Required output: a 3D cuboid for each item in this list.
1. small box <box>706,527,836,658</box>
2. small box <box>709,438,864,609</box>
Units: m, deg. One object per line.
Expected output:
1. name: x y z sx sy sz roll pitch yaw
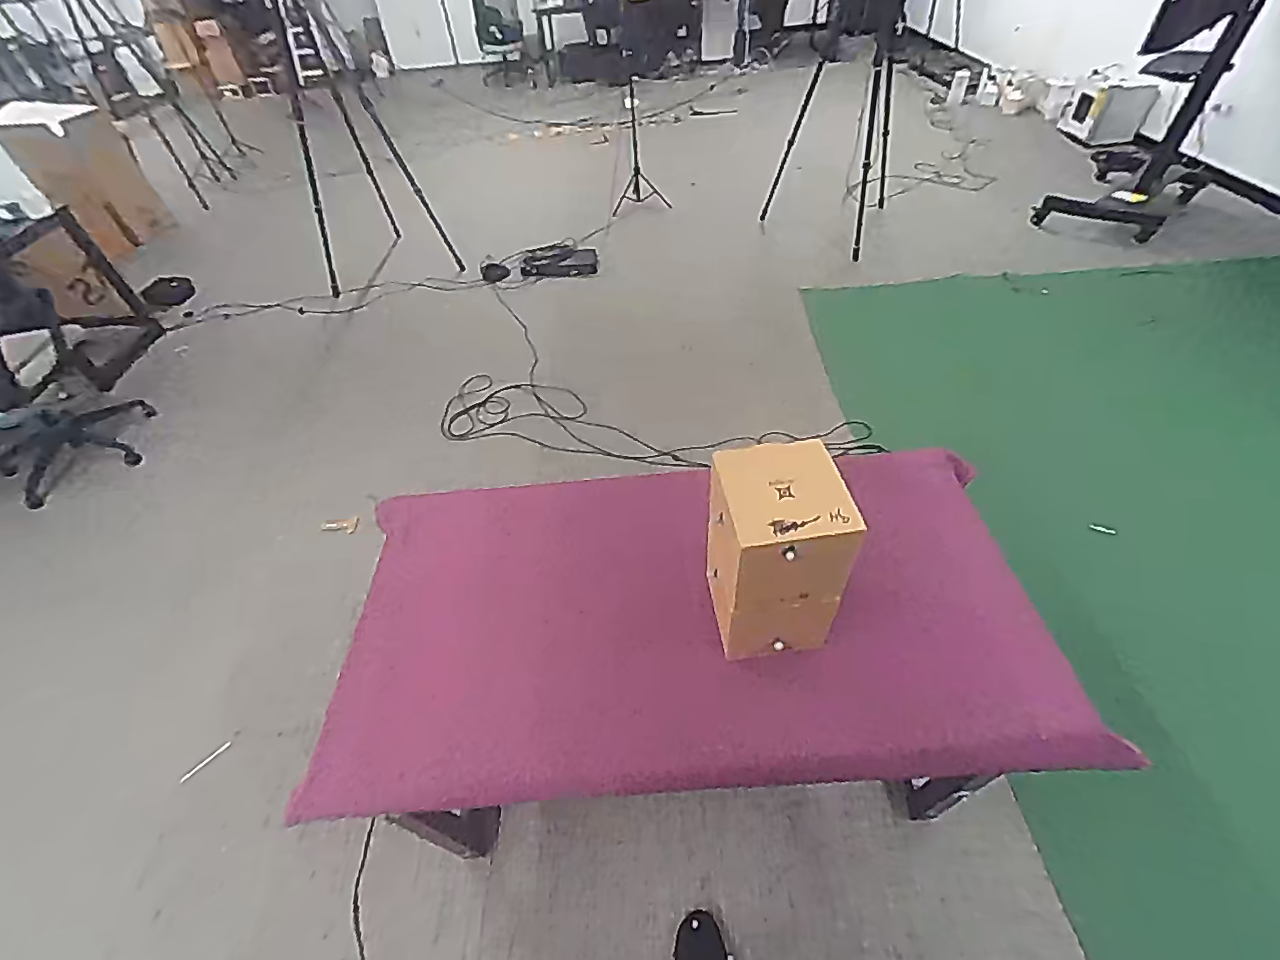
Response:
1. small box: 0.207 0.176 0.911 0.168 0.176 0.179 -7 48 -1
2. small box: 0.198 0.064 0.791 0.168 0.176 0.179 -8 47 -2
